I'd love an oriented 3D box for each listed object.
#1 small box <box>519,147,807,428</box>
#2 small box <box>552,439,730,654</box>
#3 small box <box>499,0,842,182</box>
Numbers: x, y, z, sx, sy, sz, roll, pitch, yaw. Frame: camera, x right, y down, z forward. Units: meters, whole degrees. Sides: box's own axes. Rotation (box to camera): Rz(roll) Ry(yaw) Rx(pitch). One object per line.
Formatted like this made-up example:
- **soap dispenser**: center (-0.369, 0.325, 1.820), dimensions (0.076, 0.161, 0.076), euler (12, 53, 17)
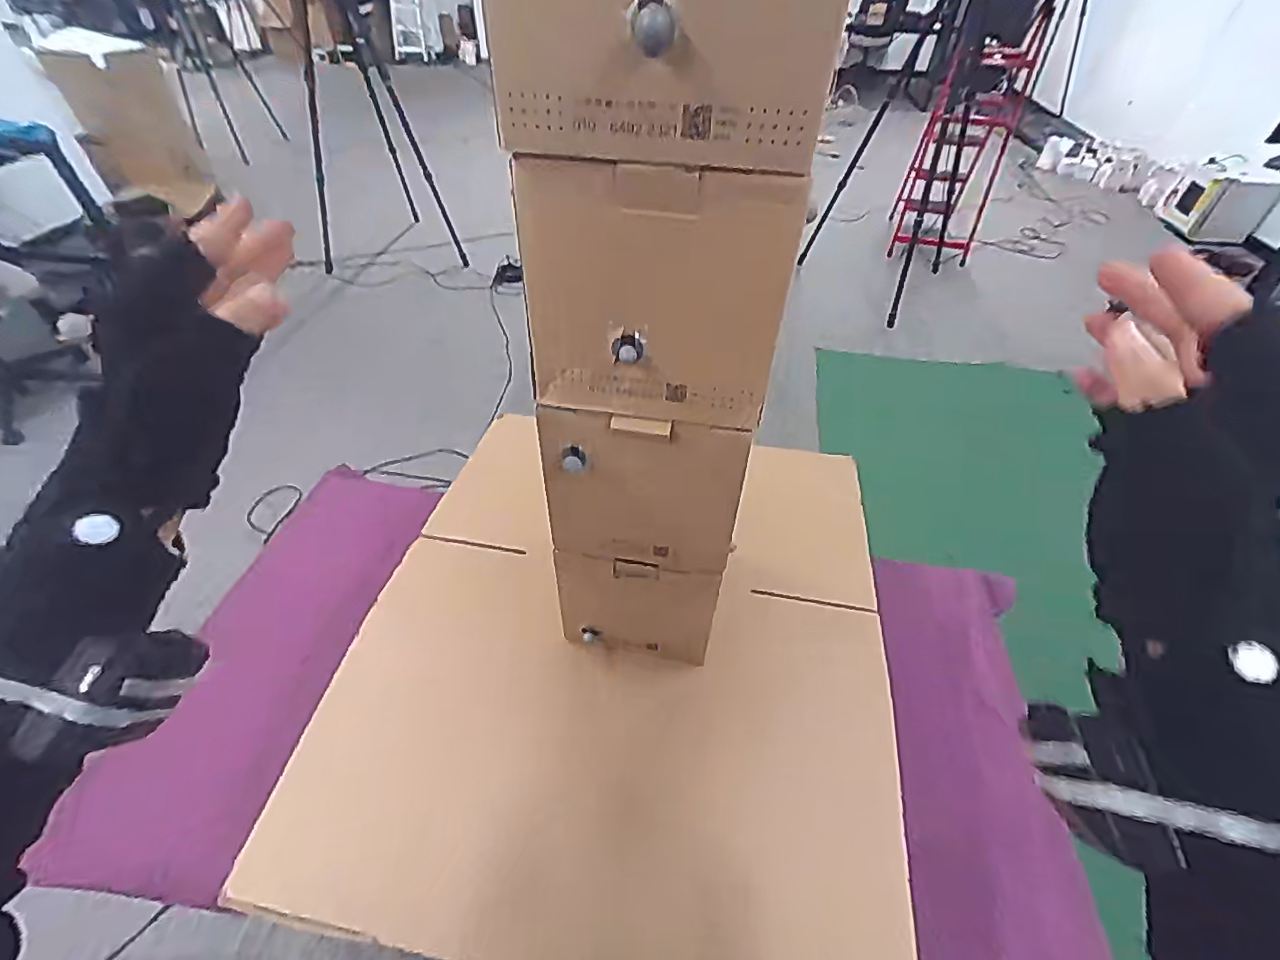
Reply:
- **small box**: center (0.019, -0.164, 0.412), dimensions (0.168, 0.176, 0.179), euler (7, 43, 5)
- **small box**: center (0.008, 0.078, 0.632), dimensions (0.168, 0.176, 0.179), euler (9, 43, 6)
- **small box**: center (0.021, -0.284, 0.299), dimensions (0.168, 0.176, 0.179), euler (7, 43, 4)
